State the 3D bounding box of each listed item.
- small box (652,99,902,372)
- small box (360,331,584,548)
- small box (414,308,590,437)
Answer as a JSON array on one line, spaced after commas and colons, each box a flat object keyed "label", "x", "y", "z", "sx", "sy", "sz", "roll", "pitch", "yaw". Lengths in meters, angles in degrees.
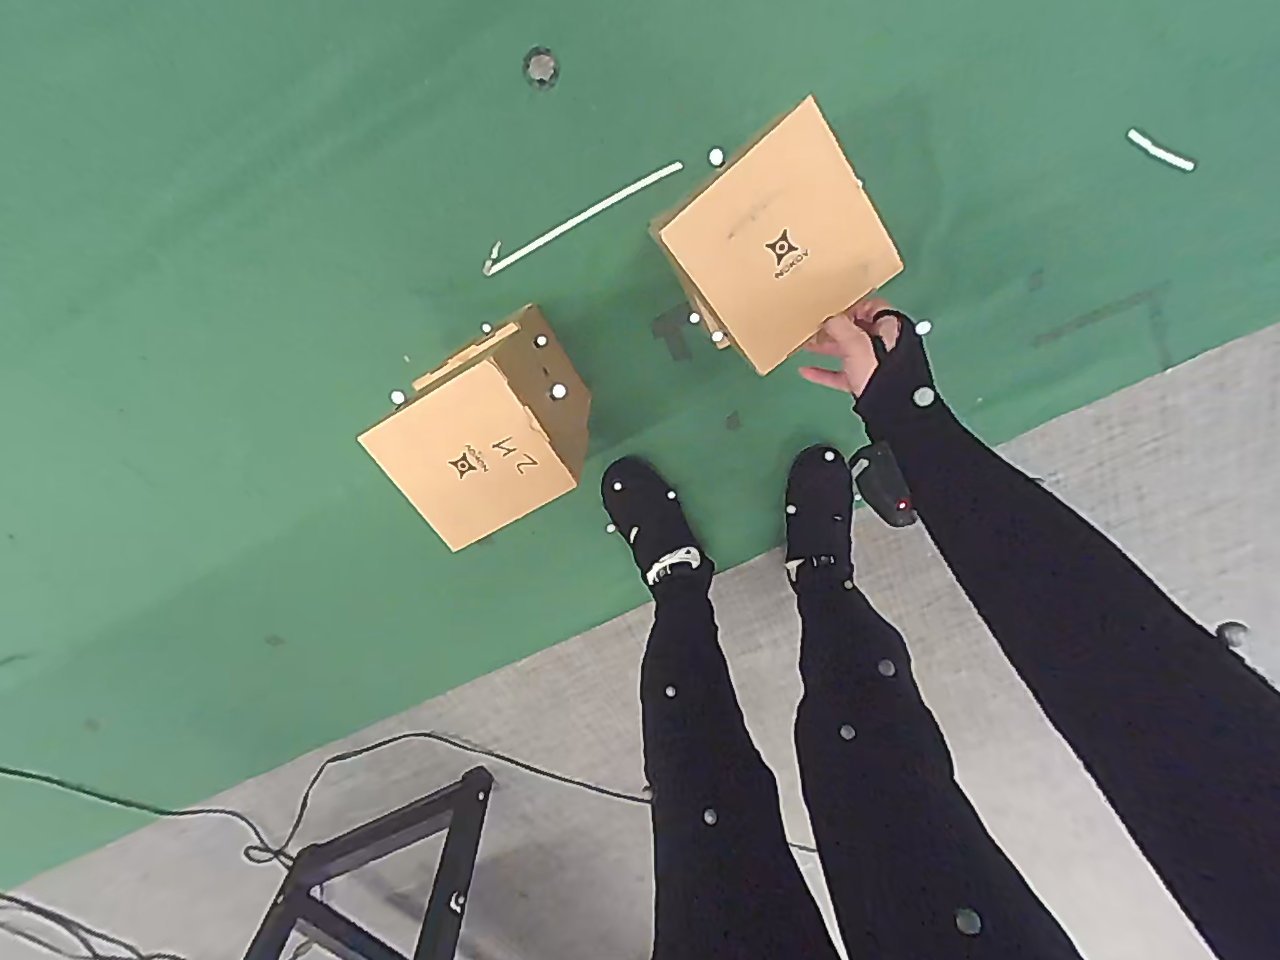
[{"label": "small box", "x": 0.129, "y": -0.248, "z": 0.567, "sx": 0.168, "sy": 0.176, "sz": 0.179, "roll": -37, "pitch": 112, "yaw": 14}, {"label": "small box", "x": -0.182, "y": -0.056, "z": 0.649, "sx": 0.179, "sy": 0.176, "sz": 0.168, "roll": -28, "pitch": 113, "yaw": 11}, {"label": "small box", "x": -0.186, "y": -0.130, "z": 0.795, "sx": 0.168, "sy": 0.176, "sz": 0.179, "roll": -28, "pitch": 112, "yaw": 11}]
